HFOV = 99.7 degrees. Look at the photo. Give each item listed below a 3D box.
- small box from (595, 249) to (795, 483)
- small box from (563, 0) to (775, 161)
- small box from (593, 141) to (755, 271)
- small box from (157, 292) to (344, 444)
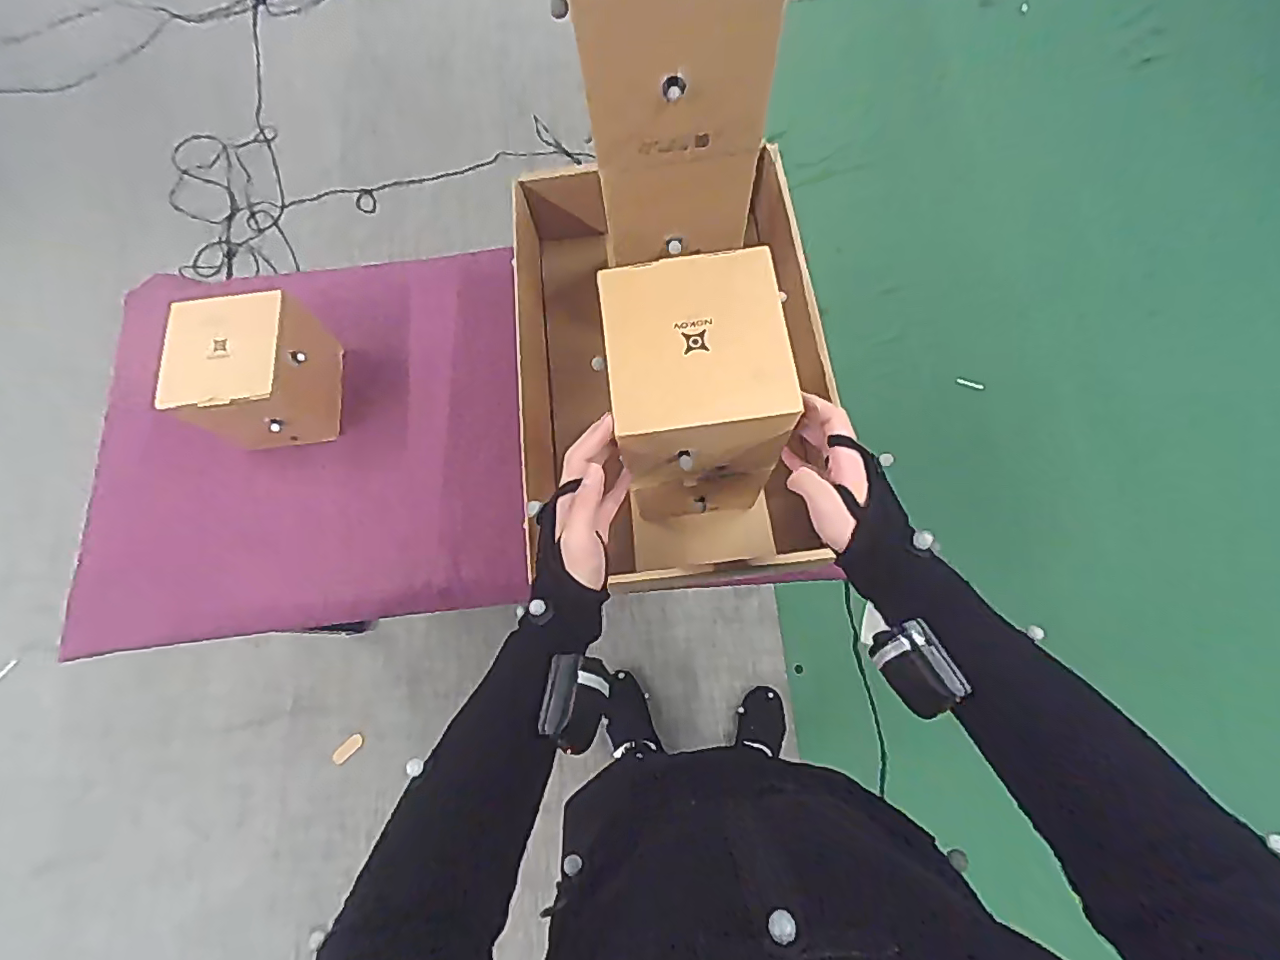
[{"bbox_3d":[0.053,-0.103,0.565,0.168,0.176,0.179,-8,72,3],"label":"small box"},{"bbox_3d":[0.022,-0.419,0.487,0.168,0.176,0.179,-7,74,2],"label":"small box"},{"bbox_3d":[0.032,-0.377,0.647,0.168,0.176,0.179,-8,74,2],"label":"small box"},{"bbox_3d":[-0.591,-0.163,0.845,0.168,0.176,0.179,-6,72,0],"label":"small box"}]
